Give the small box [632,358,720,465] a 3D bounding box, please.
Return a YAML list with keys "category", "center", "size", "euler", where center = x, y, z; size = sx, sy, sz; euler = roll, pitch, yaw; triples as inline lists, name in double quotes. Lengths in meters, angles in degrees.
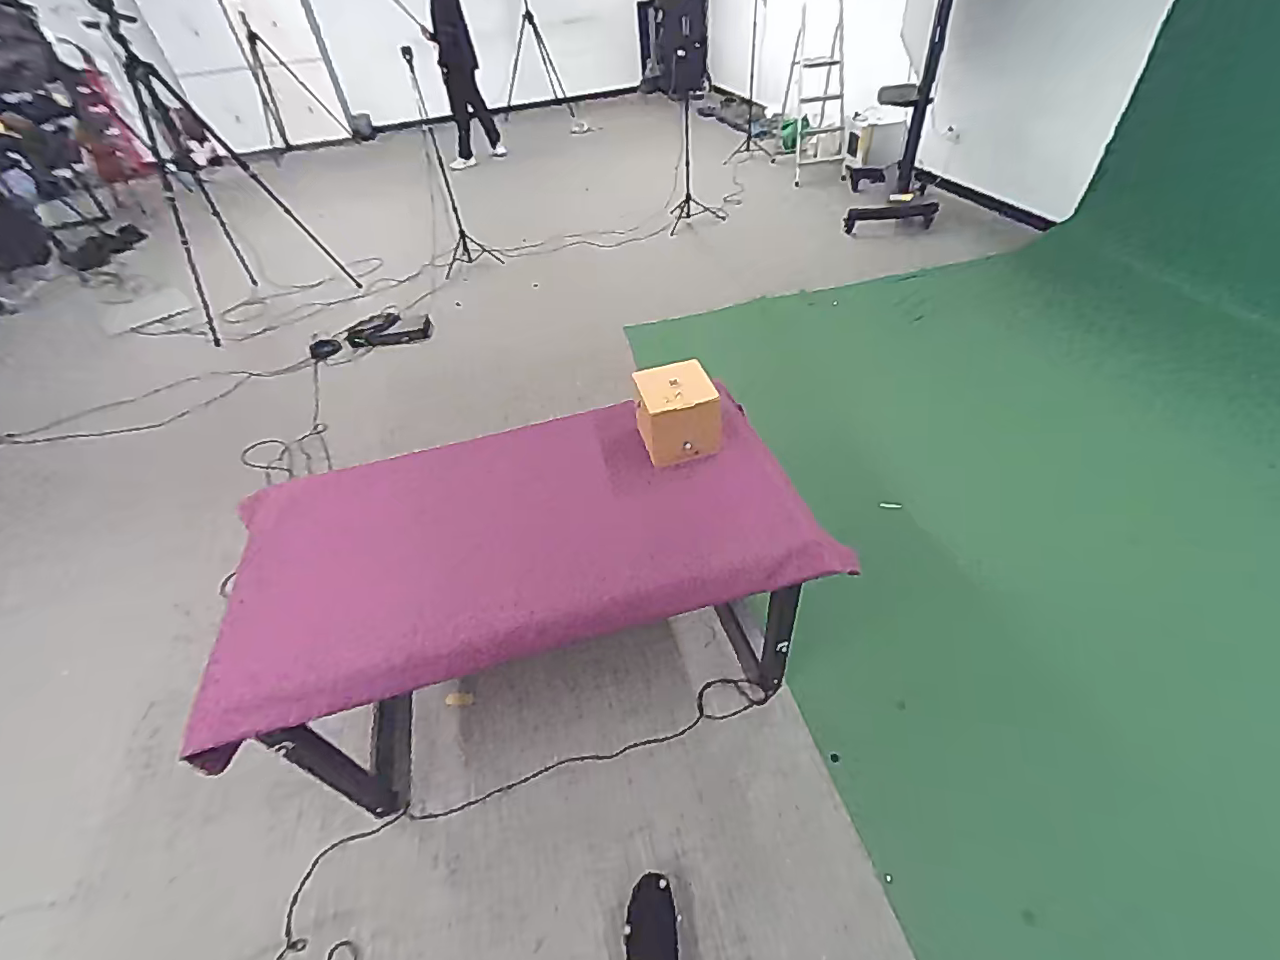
- category: "small box"
  center: [0.084, -0.164, 1.300]
  size: [0.168, 0.176, 0.179]
  euler: [-14, 46, -6]
